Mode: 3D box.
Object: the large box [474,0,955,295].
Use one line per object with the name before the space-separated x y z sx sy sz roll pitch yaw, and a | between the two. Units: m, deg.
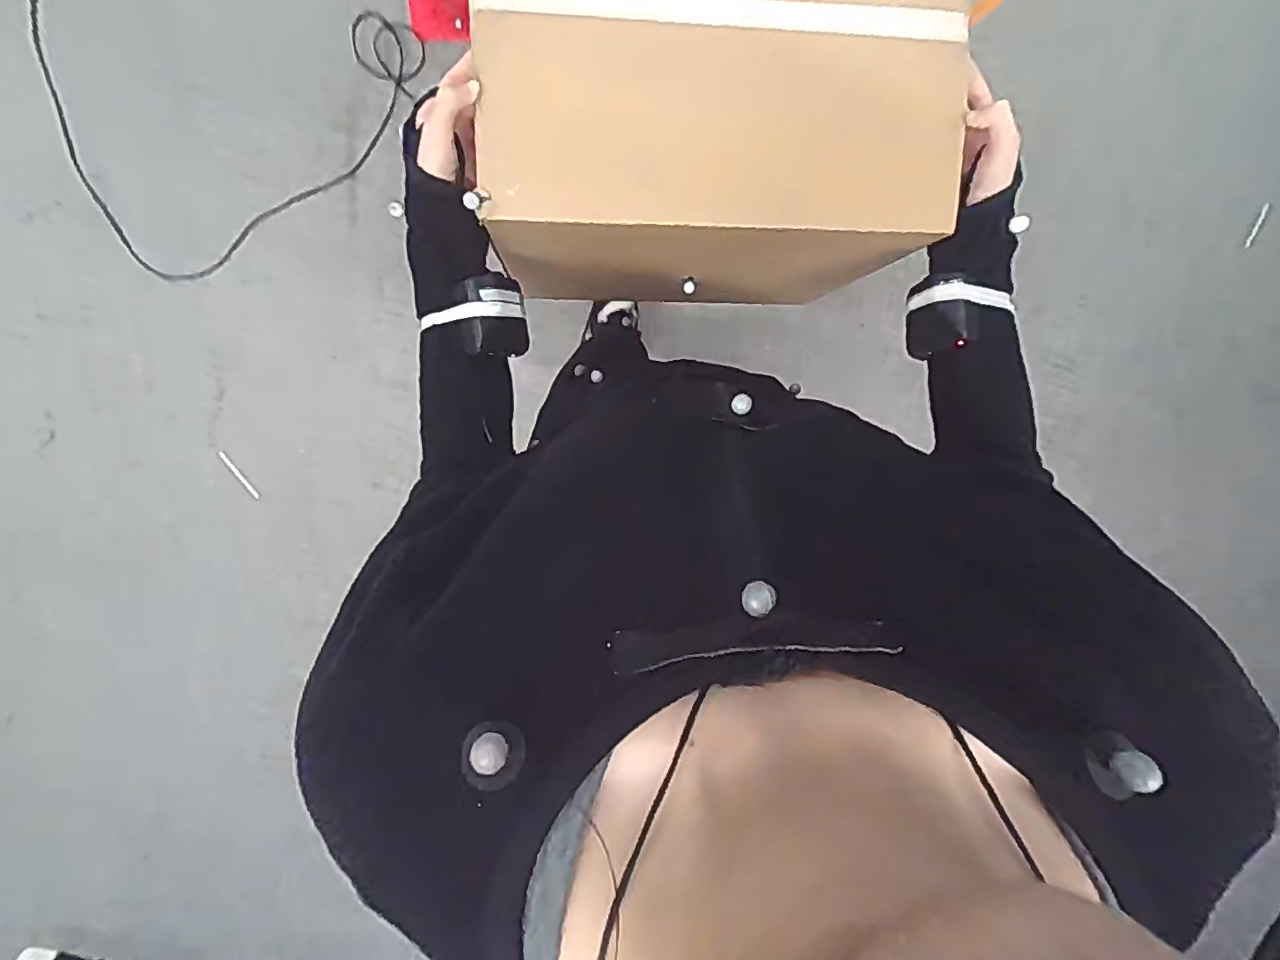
large box | 0.055 -0.388 0.589 0.408 0.320 0.320 -1 97 -5
